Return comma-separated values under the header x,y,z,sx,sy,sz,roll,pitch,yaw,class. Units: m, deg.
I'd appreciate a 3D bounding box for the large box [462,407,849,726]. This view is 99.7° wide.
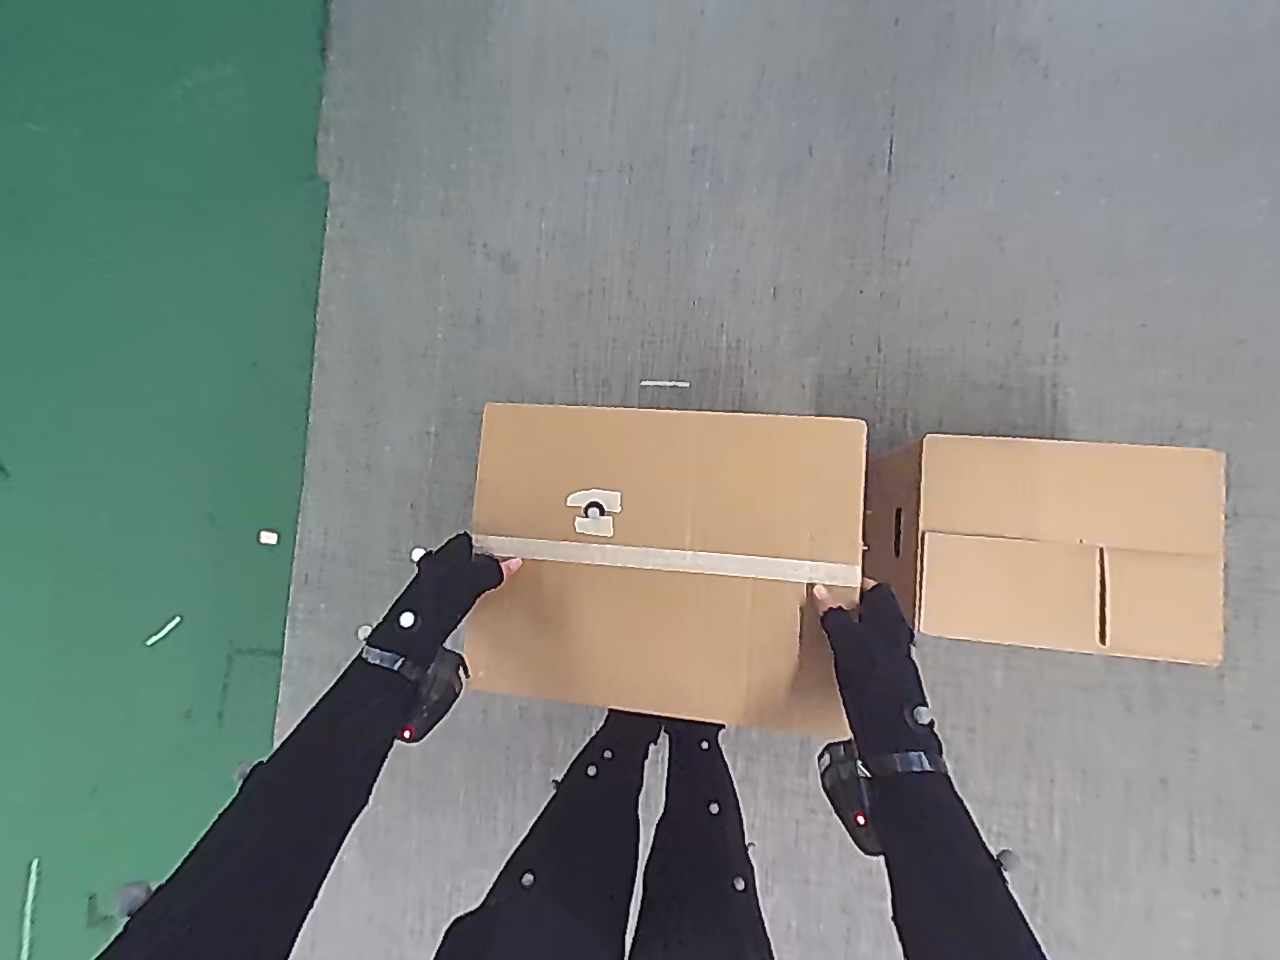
x,y,z,sx,sy,sz,roll,pitch,yaw,class
0.034,0.087,0.713,0.408,0.320,0.320,4,87,10,large box
